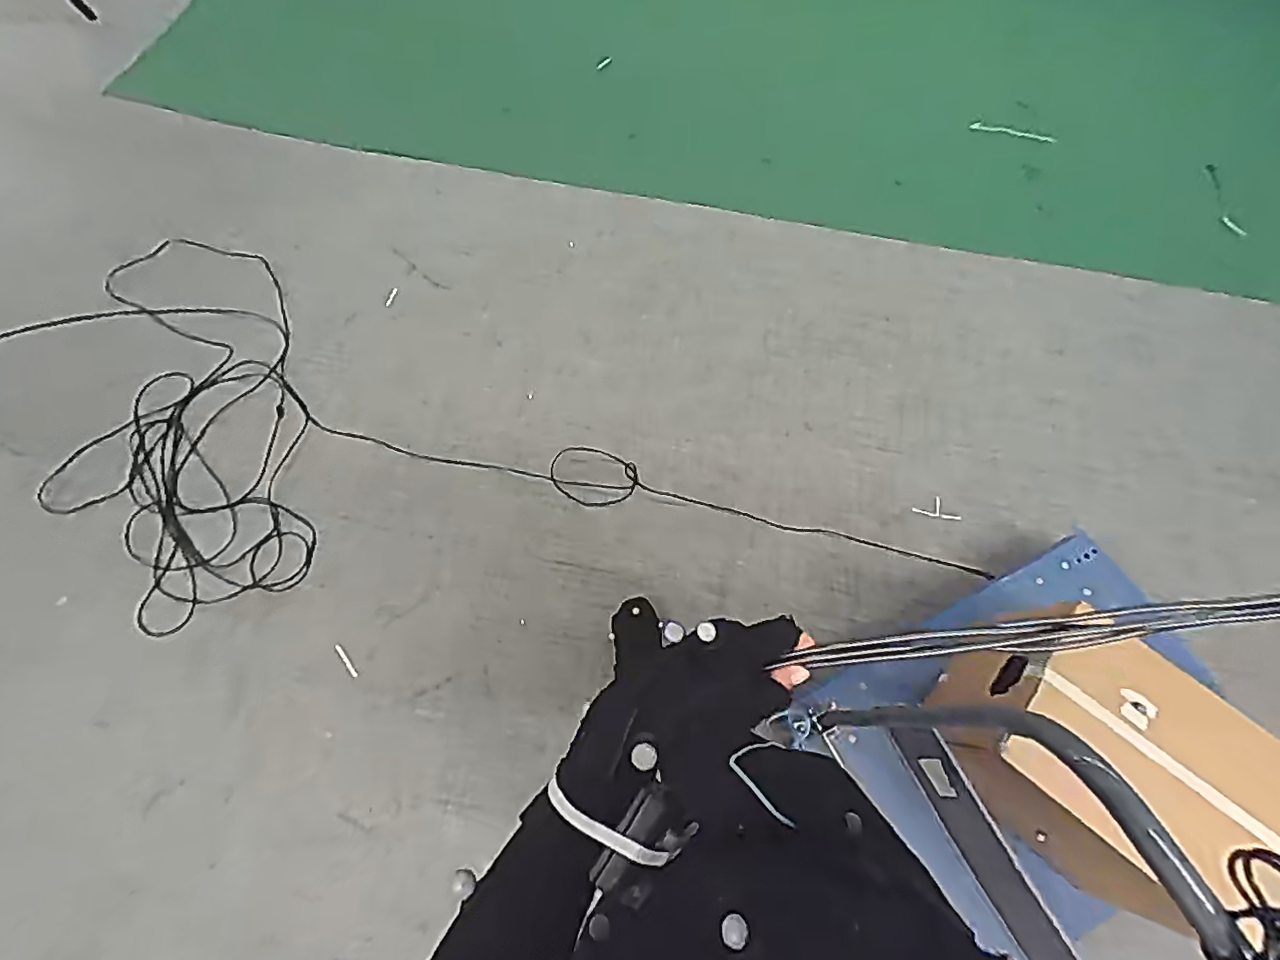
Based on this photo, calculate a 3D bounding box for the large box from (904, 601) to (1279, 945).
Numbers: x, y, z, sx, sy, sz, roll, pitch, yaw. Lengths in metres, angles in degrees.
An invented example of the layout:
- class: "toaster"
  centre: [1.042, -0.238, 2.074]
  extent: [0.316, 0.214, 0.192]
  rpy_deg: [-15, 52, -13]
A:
- class: "large box"
  centre: [0.791, 0.485, 0.980]
  extent: [0.408, 0.320, 0.320]
  rpy_deg: [39, 72, 14]
